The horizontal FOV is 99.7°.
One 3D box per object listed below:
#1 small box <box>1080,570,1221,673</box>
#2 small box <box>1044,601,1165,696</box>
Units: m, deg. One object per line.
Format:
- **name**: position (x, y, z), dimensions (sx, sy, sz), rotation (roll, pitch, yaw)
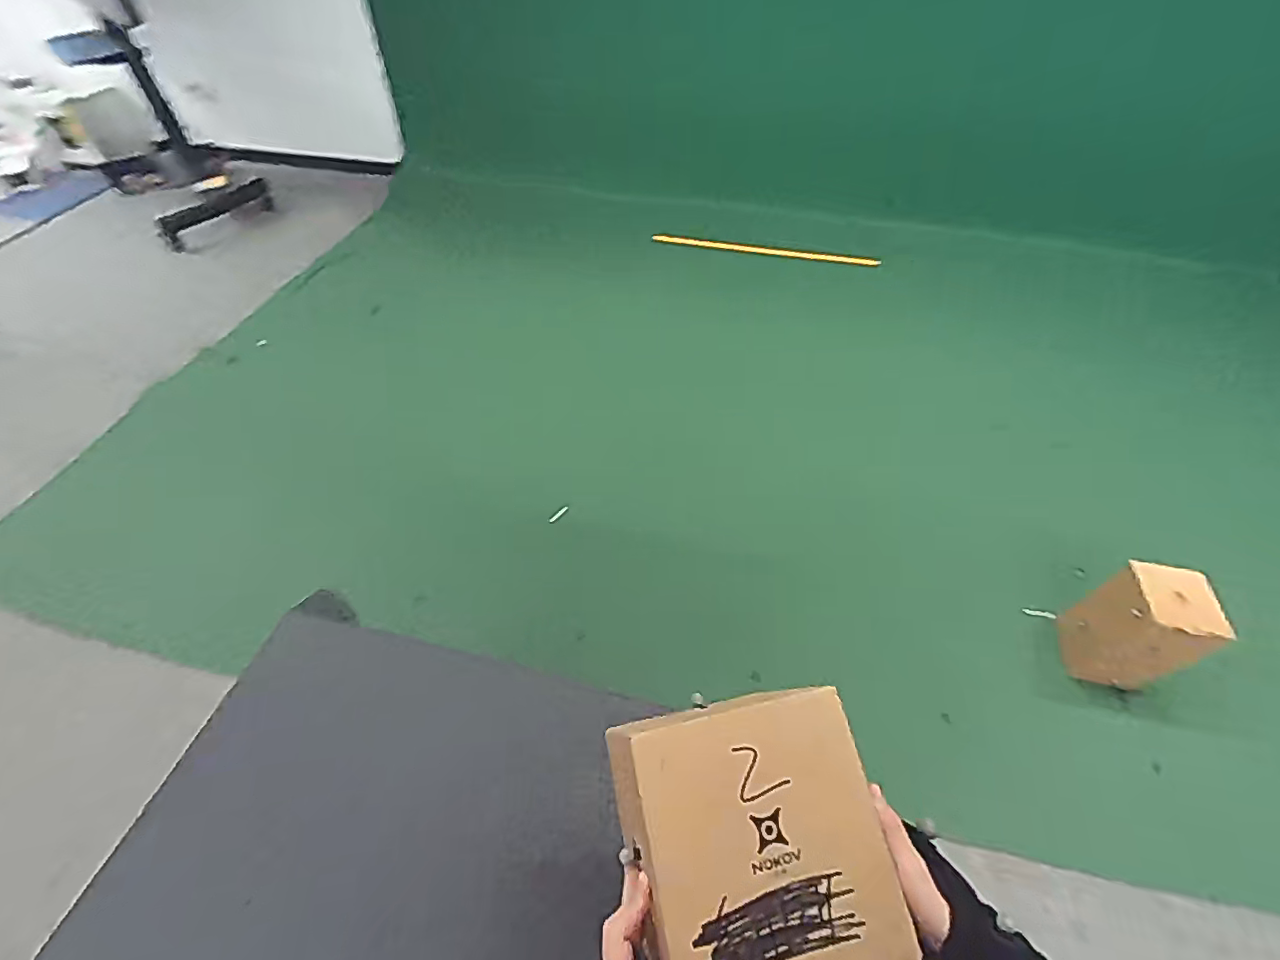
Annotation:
- **small box**: position (1.260, 0.355, 1.355), dimensions (0.168, 0.176, 0.179), rotation (10, 49, 6)
- **small box**: position (1.253, 0.462, 1.477), dimensions (0.168, 0.176, 0.179), rotation (11, 50, 7)
